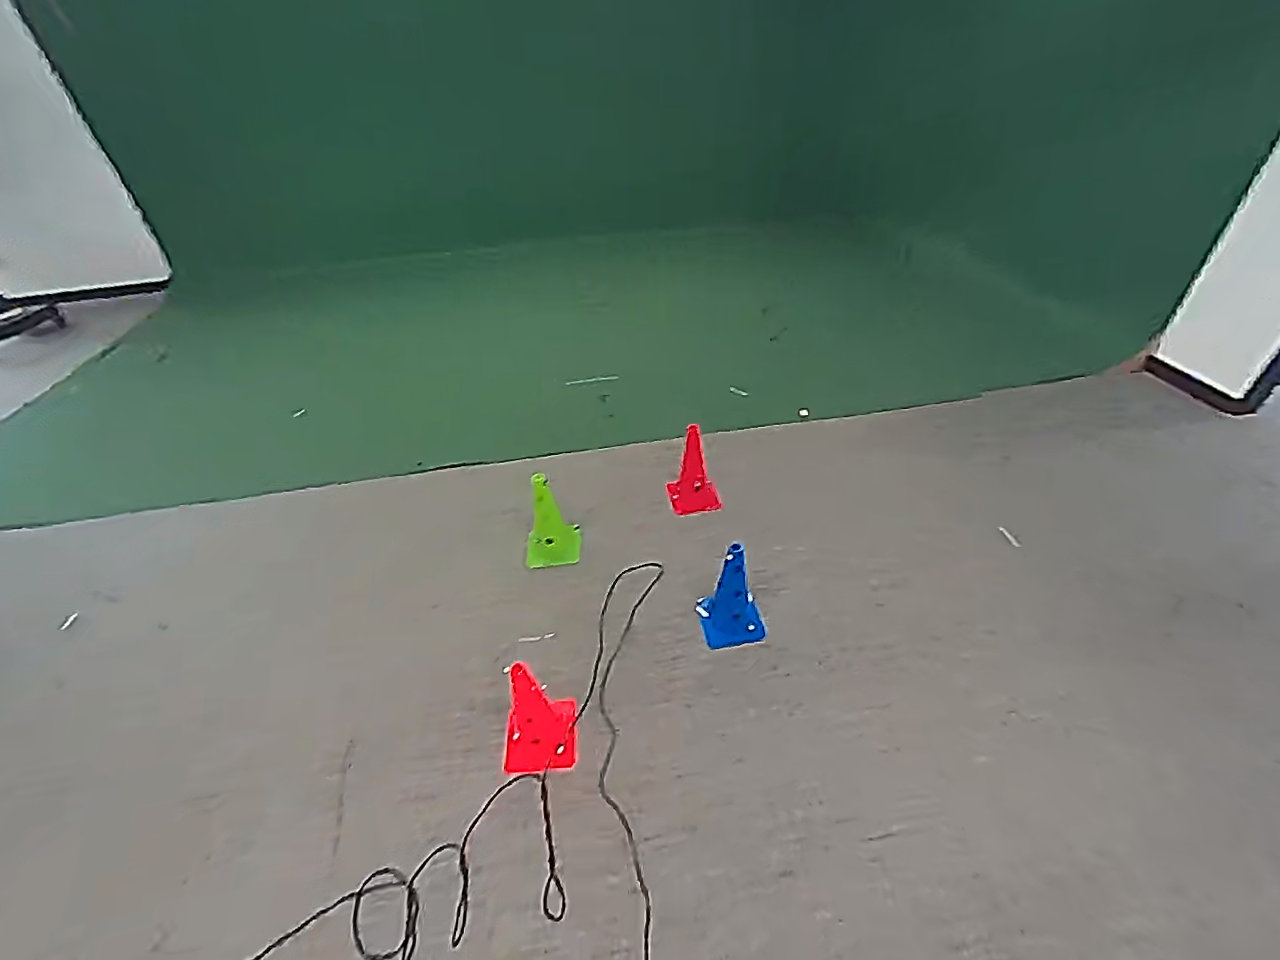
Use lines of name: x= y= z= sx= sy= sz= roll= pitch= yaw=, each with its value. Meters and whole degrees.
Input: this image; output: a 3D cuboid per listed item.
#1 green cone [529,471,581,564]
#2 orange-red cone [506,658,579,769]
green cone: x=-0.342 y=0.113 z=1.989 sx=0.200 sy=0.368 sz=0.202 roll=-7 pitch=41 yaw=-2
orange-red cone: x=-0.282 y=0.586 z=1.434 sx=0.198 sy=0.360 sz=0.199 roll=-4 pitch=39 yaw=-1
